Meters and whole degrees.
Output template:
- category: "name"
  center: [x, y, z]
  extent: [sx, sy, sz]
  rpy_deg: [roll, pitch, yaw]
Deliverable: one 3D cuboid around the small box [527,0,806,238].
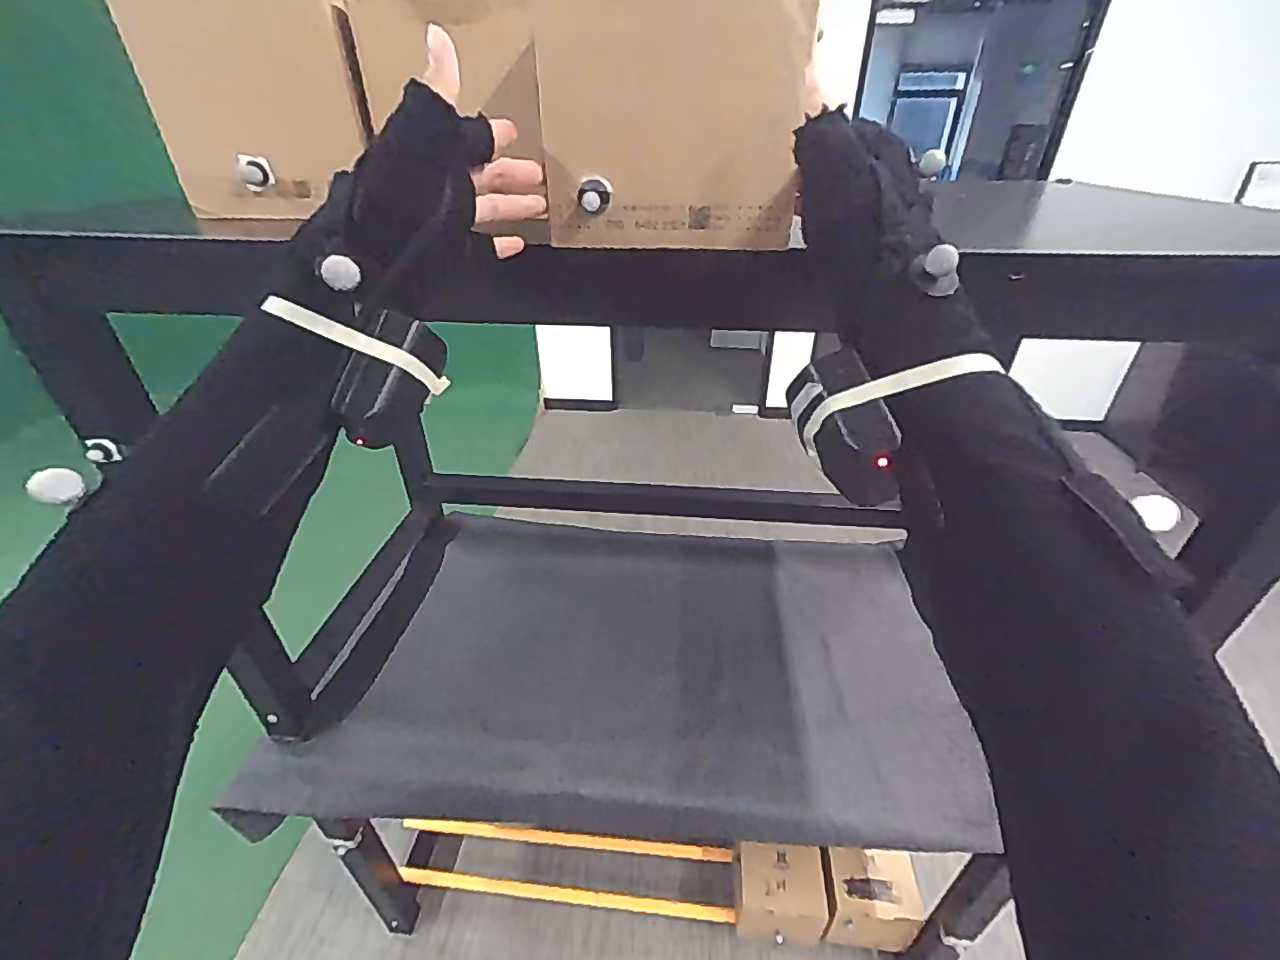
- category: "small box"
  center: [0.025, -0.280, 0.403]
  extent: [0.168, 0.176, 0.179]
  rpy_deg: [3, 31, 5]
